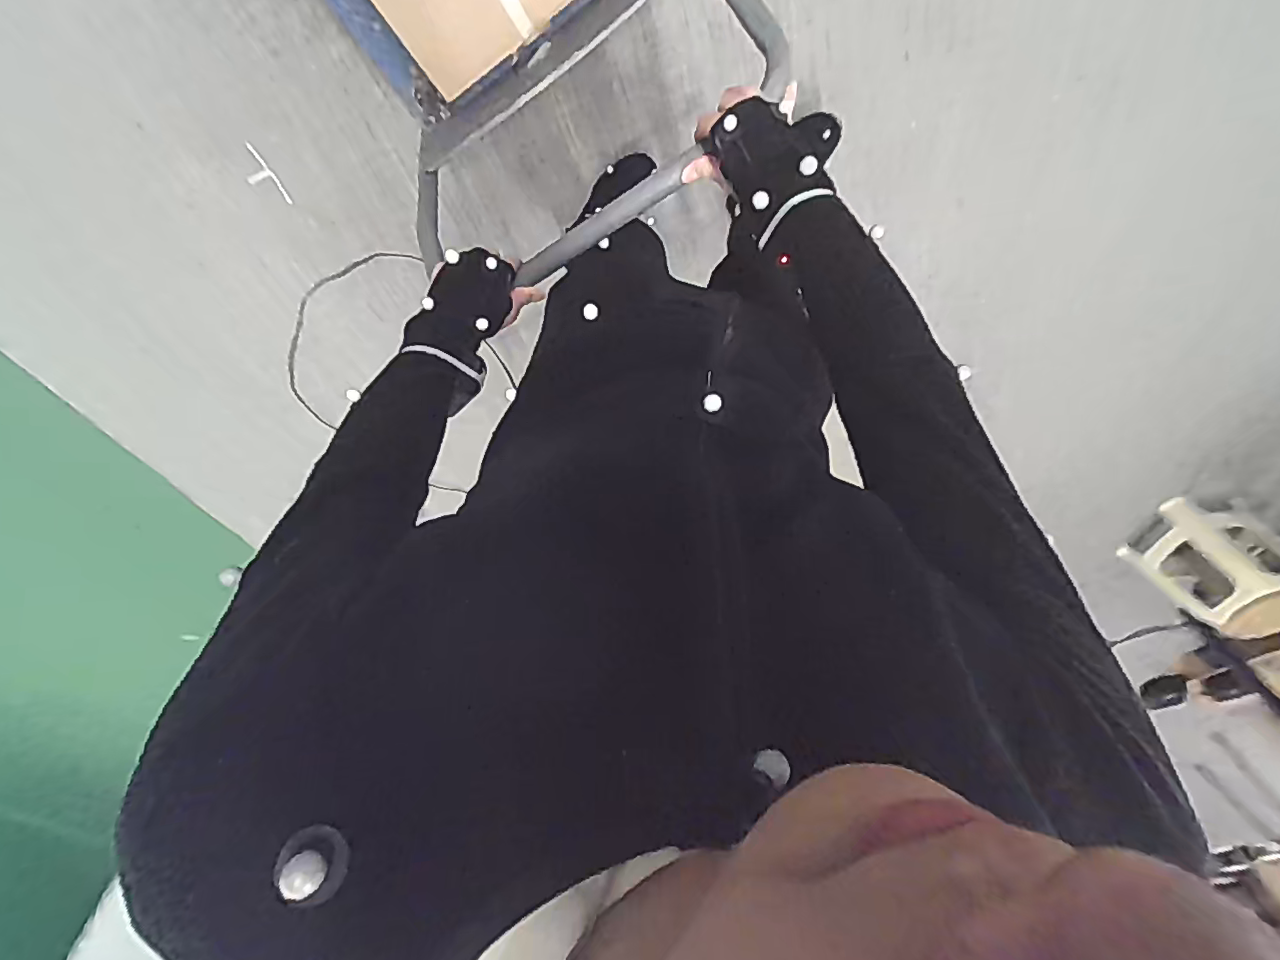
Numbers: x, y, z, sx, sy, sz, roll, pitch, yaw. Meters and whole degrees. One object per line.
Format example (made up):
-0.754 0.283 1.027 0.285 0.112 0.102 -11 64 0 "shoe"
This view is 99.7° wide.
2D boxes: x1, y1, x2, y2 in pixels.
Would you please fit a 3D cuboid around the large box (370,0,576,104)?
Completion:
-0.278 -0.844 0.735 0.320 0.320 0.408 -27 139 18 "large box"
